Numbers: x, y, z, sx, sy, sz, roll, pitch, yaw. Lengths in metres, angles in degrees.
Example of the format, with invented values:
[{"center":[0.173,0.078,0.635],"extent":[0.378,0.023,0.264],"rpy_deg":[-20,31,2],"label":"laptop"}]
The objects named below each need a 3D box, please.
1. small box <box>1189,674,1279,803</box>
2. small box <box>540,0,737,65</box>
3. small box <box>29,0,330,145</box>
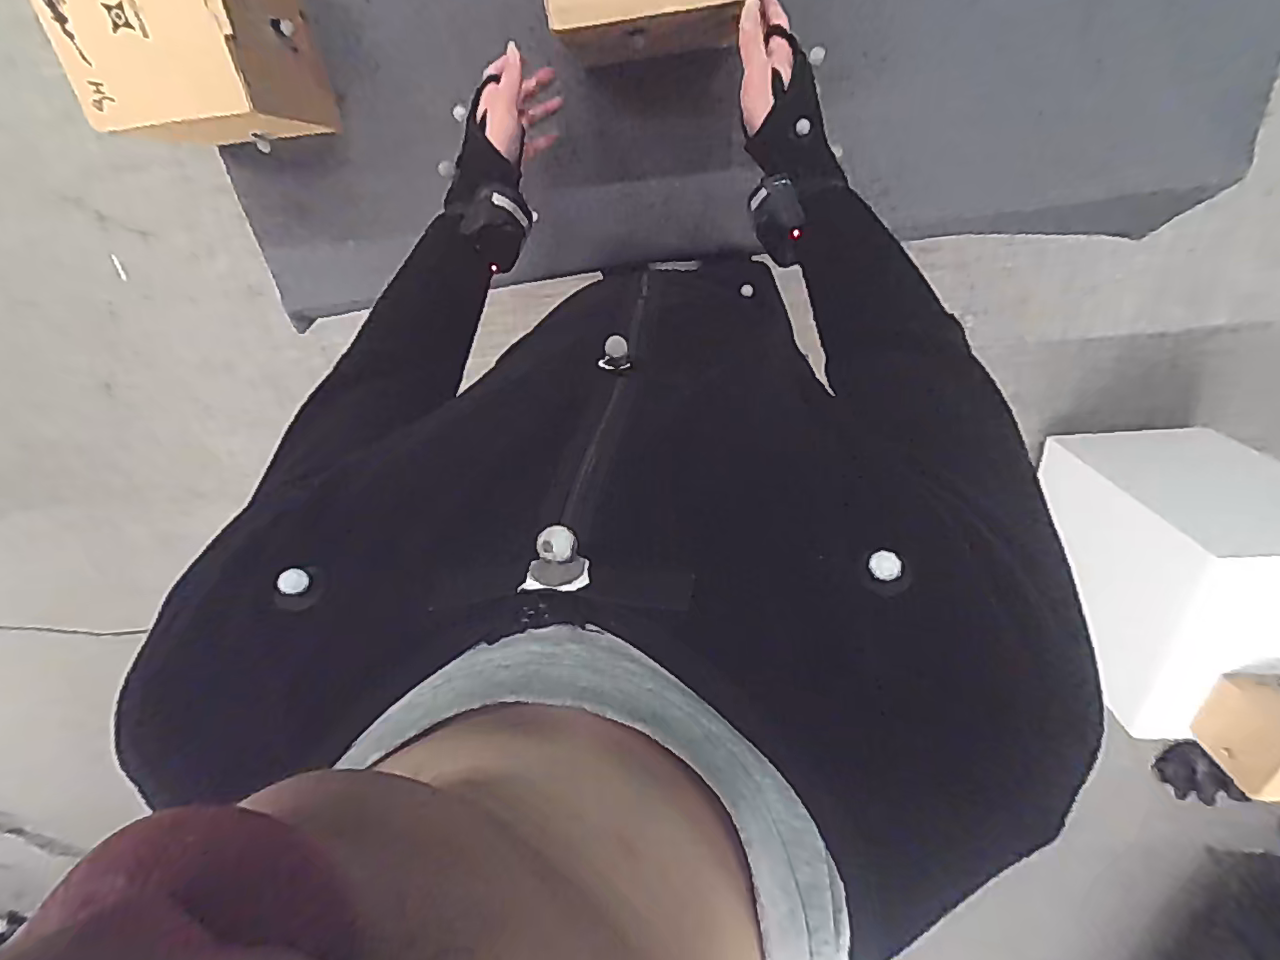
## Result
[{"center":[1.277,0.517,1.084],"extent":[0.168,0.176,0.179],"rpy_deg":[-2,117,5],"label":"small box"},{"center":[0.001,-0.504,0.493],"extent":[0.179,0.176,0.168],"rpy_deg":[-4,118,6],"label":"small box"},{"center":[-0.459,-0.456,0.562],"extent":[0.179,0.176,0.168],"rpy_deg":[-3,118,6],"label":"small box"}]
